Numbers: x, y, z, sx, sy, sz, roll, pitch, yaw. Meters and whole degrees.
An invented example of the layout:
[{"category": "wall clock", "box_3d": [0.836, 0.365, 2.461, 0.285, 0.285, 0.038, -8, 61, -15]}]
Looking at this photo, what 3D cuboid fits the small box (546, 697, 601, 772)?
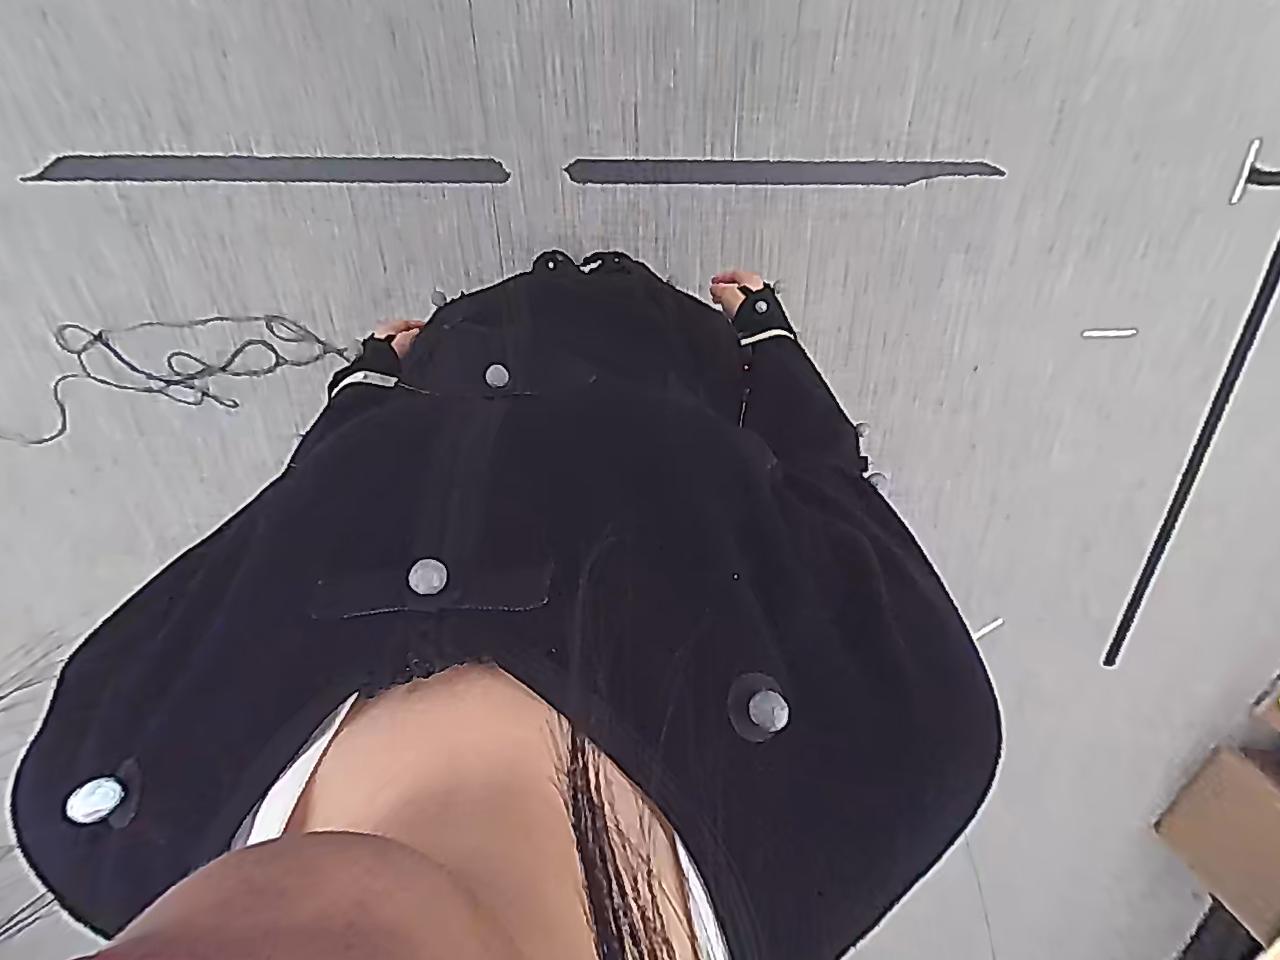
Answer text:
[{"category": "small box", "box_3d": [-0.226, 0.864, 1.843, 0.179, 0.176, 0.168, 2, 113, -7]}]
